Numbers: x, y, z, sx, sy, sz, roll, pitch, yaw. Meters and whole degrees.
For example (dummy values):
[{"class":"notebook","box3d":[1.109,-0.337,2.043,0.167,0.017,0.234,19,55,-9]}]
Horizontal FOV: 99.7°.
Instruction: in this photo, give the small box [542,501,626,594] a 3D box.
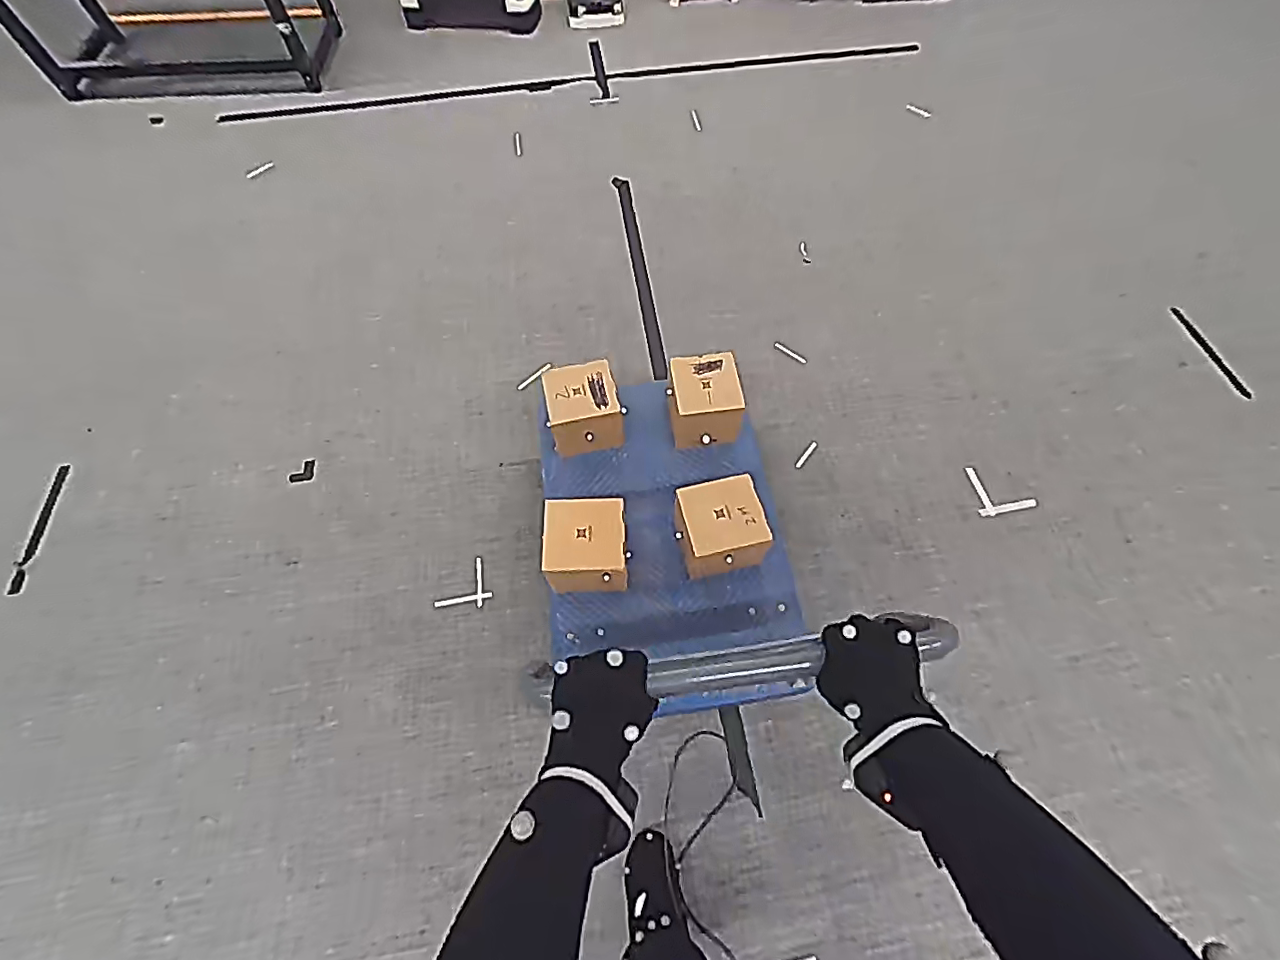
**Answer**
[{"class":"small box","box3d":[-0.122,0.159,1.241,0.179,0.176,0.168,-2,62,-2]}]

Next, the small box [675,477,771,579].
[{"class":"small box","box3d":[0.183,0.117,1.257,0.179,0.176,0.168,-12,63,-5]}]

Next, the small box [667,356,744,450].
[{"class":"small box","box3d":[0.164,-0.199,1.420,0.168,0.176,0.179,-7,64,-3]}]
